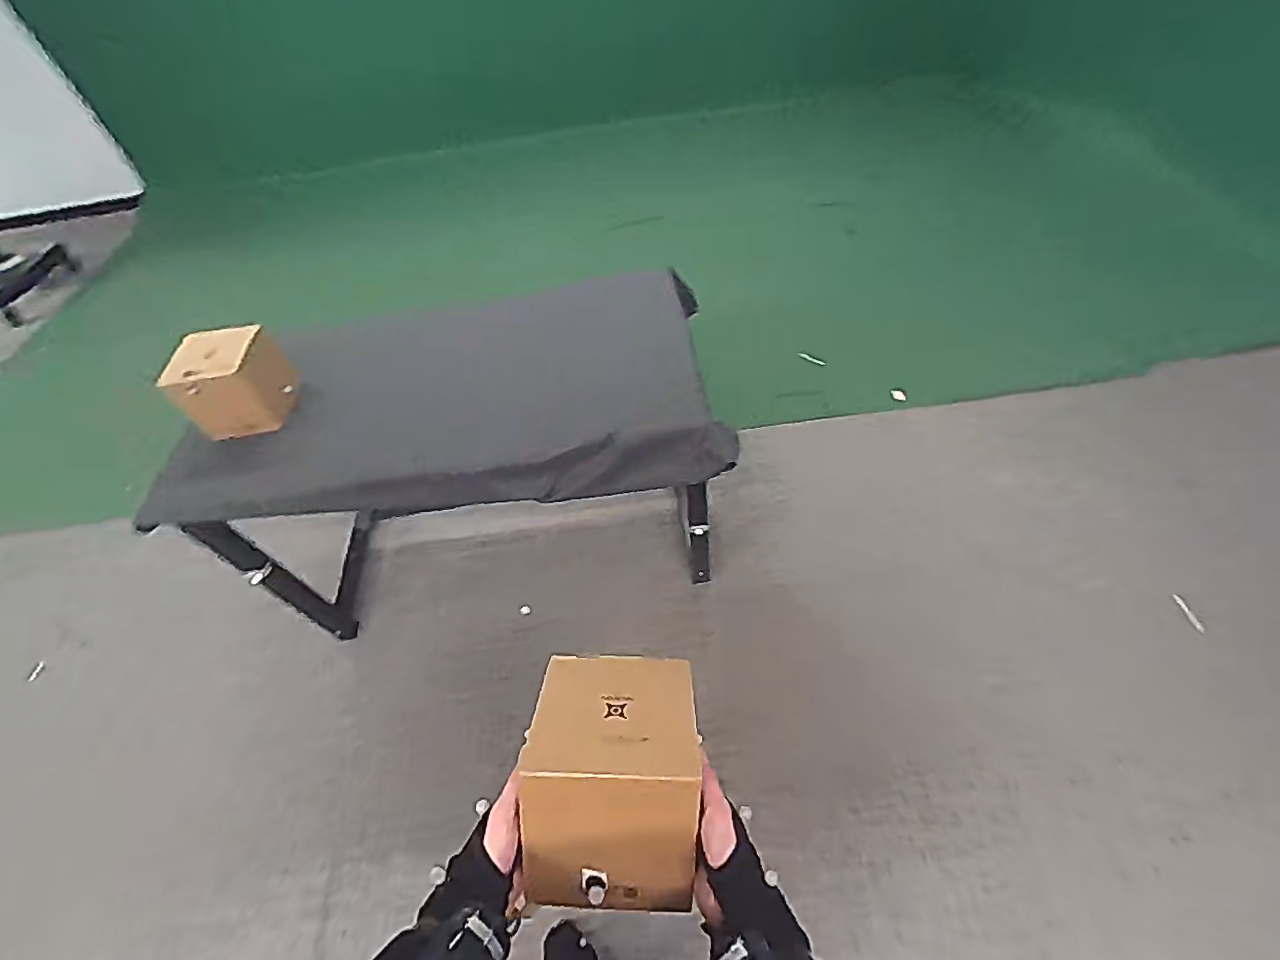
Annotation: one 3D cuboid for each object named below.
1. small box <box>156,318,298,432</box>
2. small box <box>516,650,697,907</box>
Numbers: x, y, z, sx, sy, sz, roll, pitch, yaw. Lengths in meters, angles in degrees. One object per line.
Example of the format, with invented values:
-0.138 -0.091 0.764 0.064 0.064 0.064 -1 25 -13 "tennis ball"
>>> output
-0.911 -0.235 1.217 0.168 0.176 0.179 -10 51 1 "small box"
-0.032 0.308 0.582 0.168 0.176 0.179 1 19 0 "small box"
